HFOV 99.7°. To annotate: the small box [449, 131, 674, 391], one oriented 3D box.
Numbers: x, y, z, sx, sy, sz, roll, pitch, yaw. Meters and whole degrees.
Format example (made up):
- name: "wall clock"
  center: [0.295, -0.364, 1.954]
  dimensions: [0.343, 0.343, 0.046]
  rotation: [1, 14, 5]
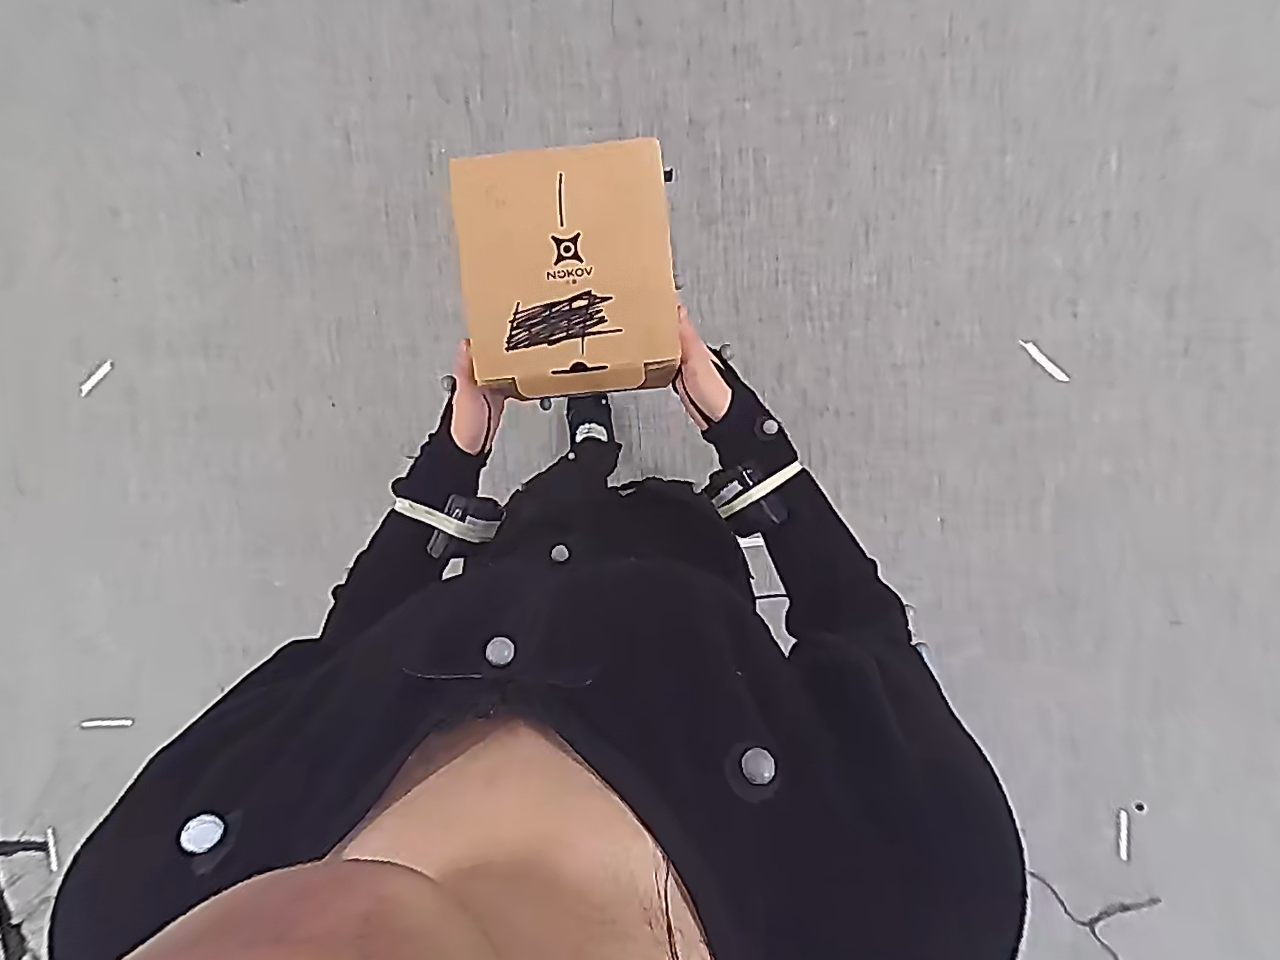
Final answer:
- name: "small box"
  center: [-0.059, -0.179, 0.499]
  dimensions: [0.168, 0.176, 0.179]
  rotation: [-5, 93, 0]
